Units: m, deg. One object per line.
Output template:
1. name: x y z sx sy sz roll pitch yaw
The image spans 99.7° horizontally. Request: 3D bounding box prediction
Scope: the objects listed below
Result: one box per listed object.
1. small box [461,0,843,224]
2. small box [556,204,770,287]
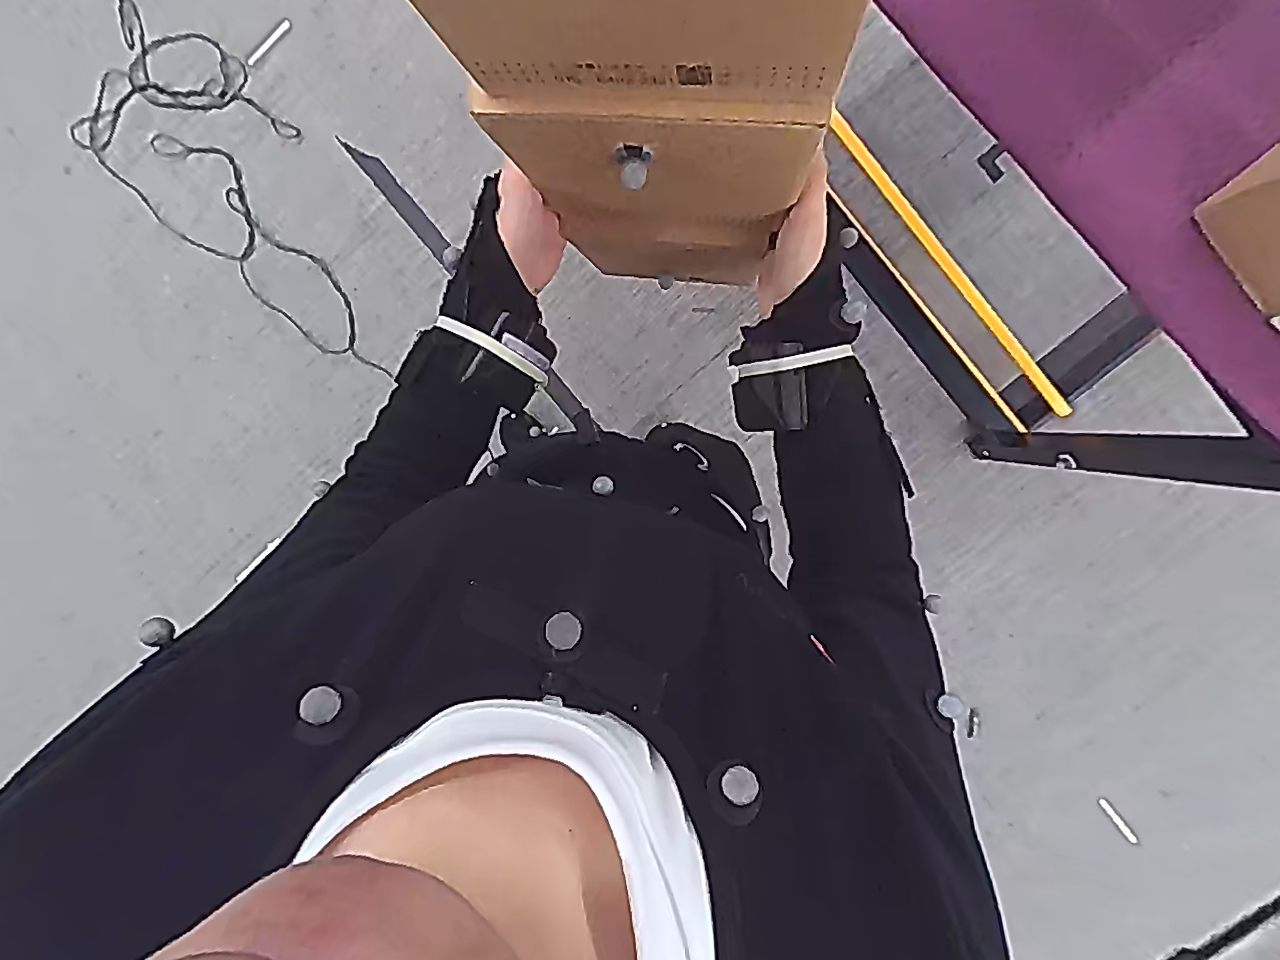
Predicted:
1. small box: 0.016 -0.262 0.317 0.179 0.176 0.168 7 101 8
2. small box: 0.034 -0.282 0.477 0.168 0.176 0.179 7 101 7
